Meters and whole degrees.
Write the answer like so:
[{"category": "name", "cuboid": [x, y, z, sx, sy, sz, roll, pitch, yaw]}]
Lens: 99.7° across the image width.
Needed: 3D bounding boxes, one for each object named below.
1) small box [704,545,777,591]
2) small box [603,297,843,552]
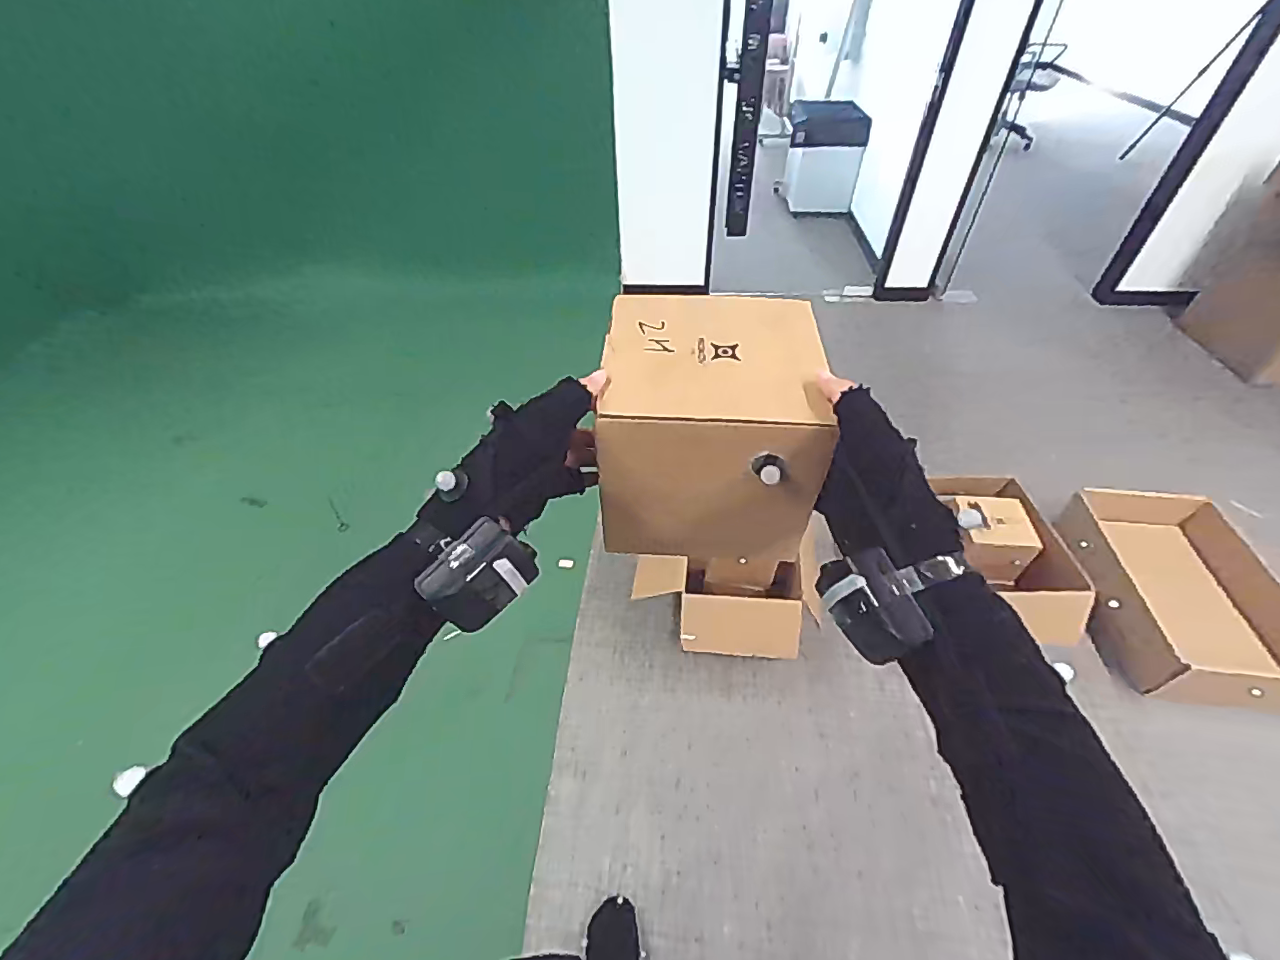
[{"category": "small box", "cuboid": [0.281, 0.193, 1.517, 0.179, 0.176, 0.168, 6, 45, 6]}, {"category": "small box", "cuboid": [0.065, -0.048, 0.500, 0.179, 0.176, 0.168, 3, 47, 3]}]
